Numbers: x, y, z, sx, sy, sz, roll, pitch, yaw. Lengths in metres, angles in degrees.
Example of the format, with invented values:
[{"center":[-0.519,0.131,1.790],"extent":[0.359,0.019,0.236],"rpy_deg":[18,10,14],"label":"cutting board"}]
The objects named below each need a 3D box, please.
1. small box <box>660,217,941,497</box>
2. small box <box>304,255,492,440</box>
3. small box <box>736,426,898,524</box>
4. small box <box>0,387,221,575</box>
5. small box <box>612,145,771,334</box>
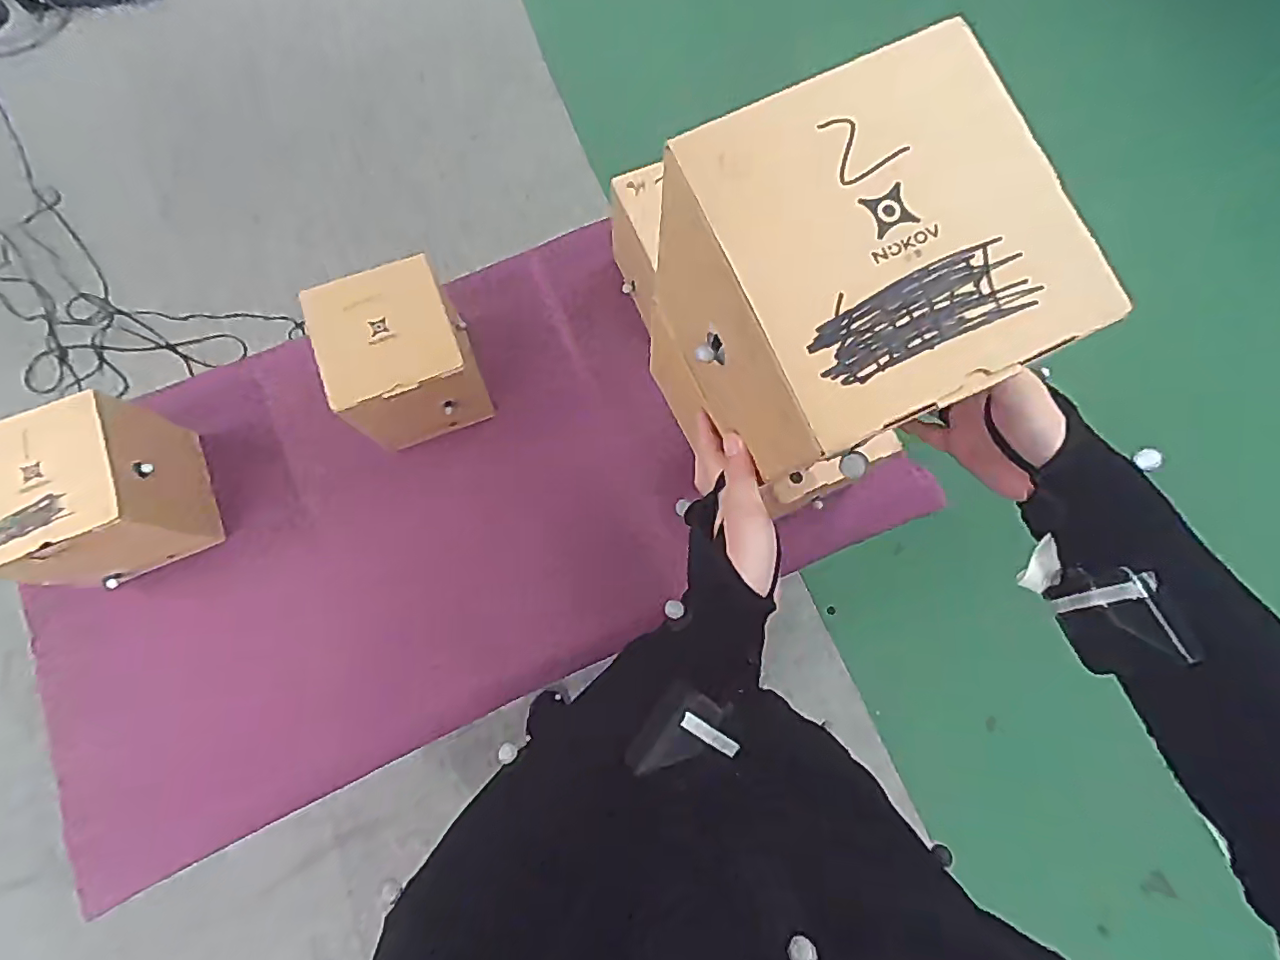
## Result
[{"center":[0.127,-0.097,0.509],"extent":[0.168,0.176,0.179],"rpy_deg":[-27,85,-4],"label":"small box"},{"center":[-0.321,-0.169,0.751],"extent":[0.168,0.176,0.179],"rpy_deg":[-20,77,-7],"label":"small box"},{"center":[0.199,-0.060,0.729],"extent":[0.168,0.176,0.179],"rpy_deg":[-24,77,-5],"label":"small box"},{"center":[-0.687,0.014,0.694],"extent":[0.168,0.176,0.179],"rpy_deg":[-23,77,-7],"label":"small box"},{"center":[0.067,-0.338,0.799],"extent":[0.168,0.176,0.179],"rpy_deg":[-22,80,-6],"label":"small box"}]
